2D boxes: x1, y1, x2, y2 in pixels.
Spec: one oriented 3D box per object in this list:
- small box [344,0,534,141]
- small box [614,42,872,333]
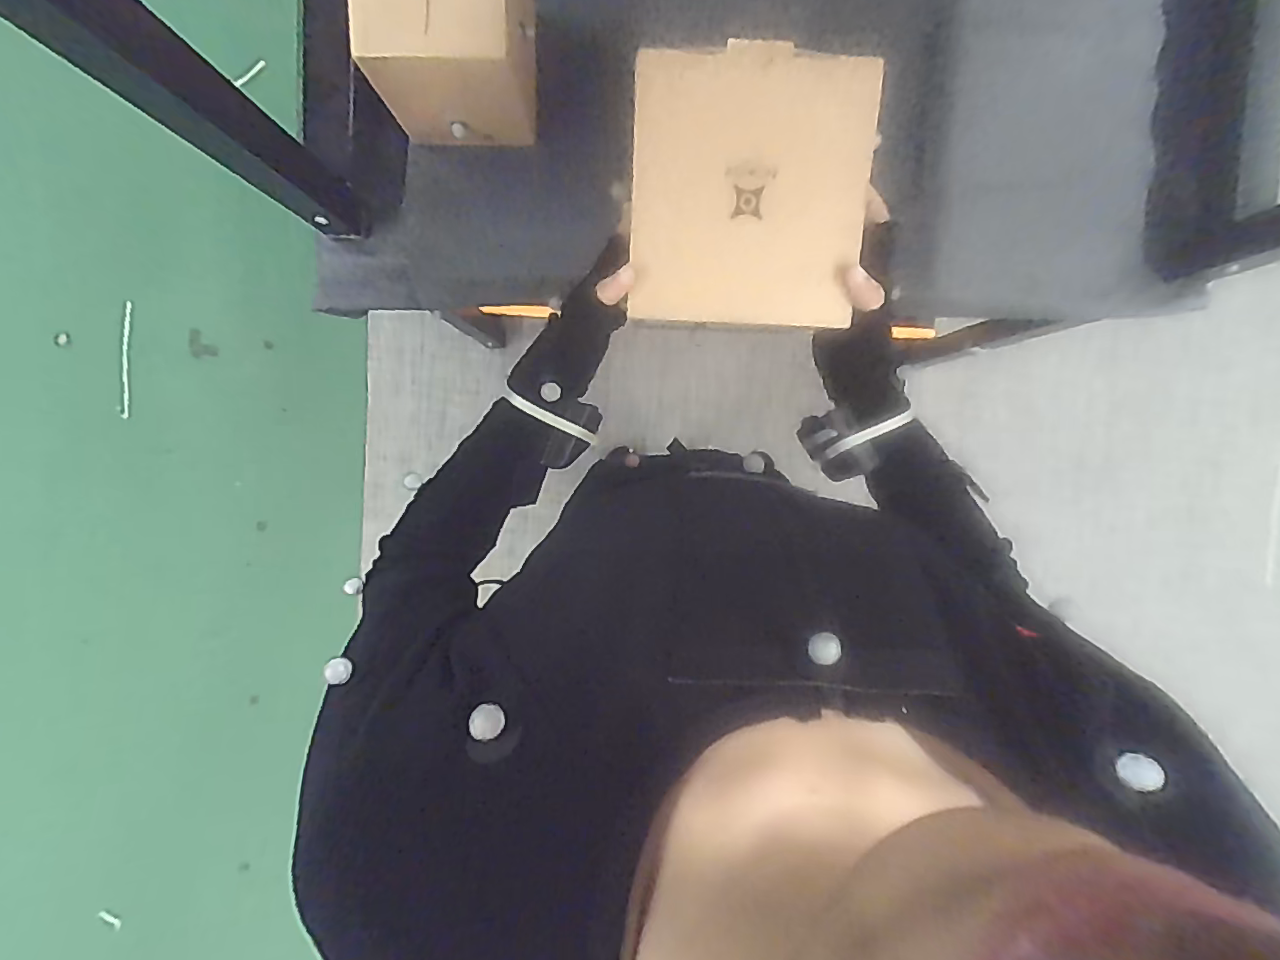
[{"bbox_3d":[-0.222,-0.537,0.635,0.168,0.176,0.179,1,94,0],"label":"small box"},{"bbox_3d":[0.071,-0.220,0.454,0.168,0.176,0.179,3,102,1],"label":"small box"}]
